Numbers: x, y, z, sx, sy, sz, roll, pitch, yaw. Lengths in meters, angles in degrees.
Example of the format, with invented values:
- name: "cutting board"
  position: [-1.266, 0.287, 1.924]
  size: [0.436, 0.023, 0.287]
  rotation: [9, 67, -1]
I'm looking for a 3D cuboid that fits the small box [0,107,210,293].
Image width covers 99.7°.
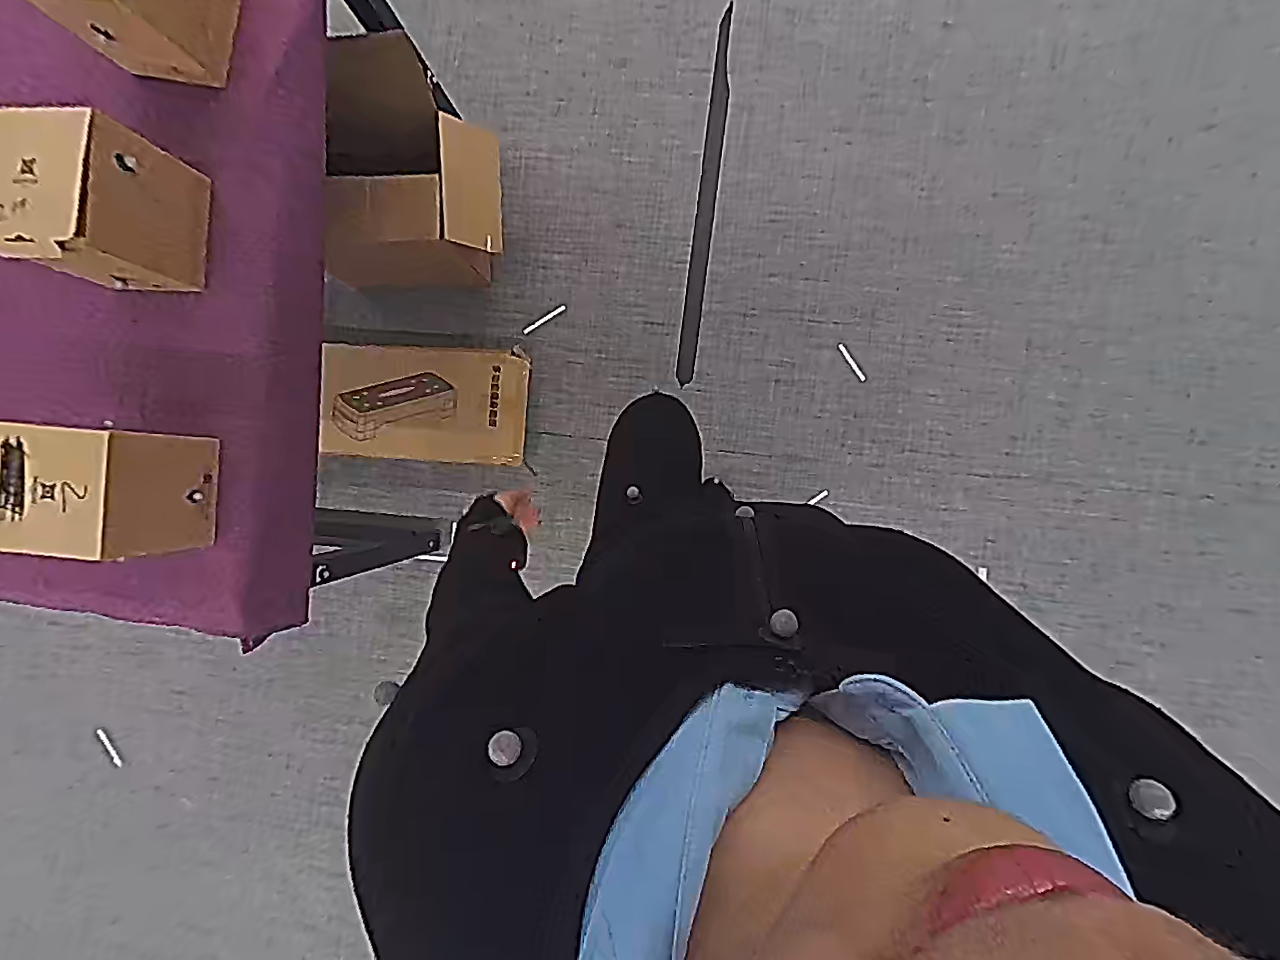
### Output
- name: "small box"
  position: [-0.748, -0.379, 0.754]
  size: [0.168, 0.176, 0.179]
  rotation: [4, 91, 7]

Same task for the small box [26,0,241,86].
- name: "small box"
  position: [-0.701, -0.694, 0.750]
  size: [0.168, 0.176, 0.179]
  rotation: [11, 91, 5]
